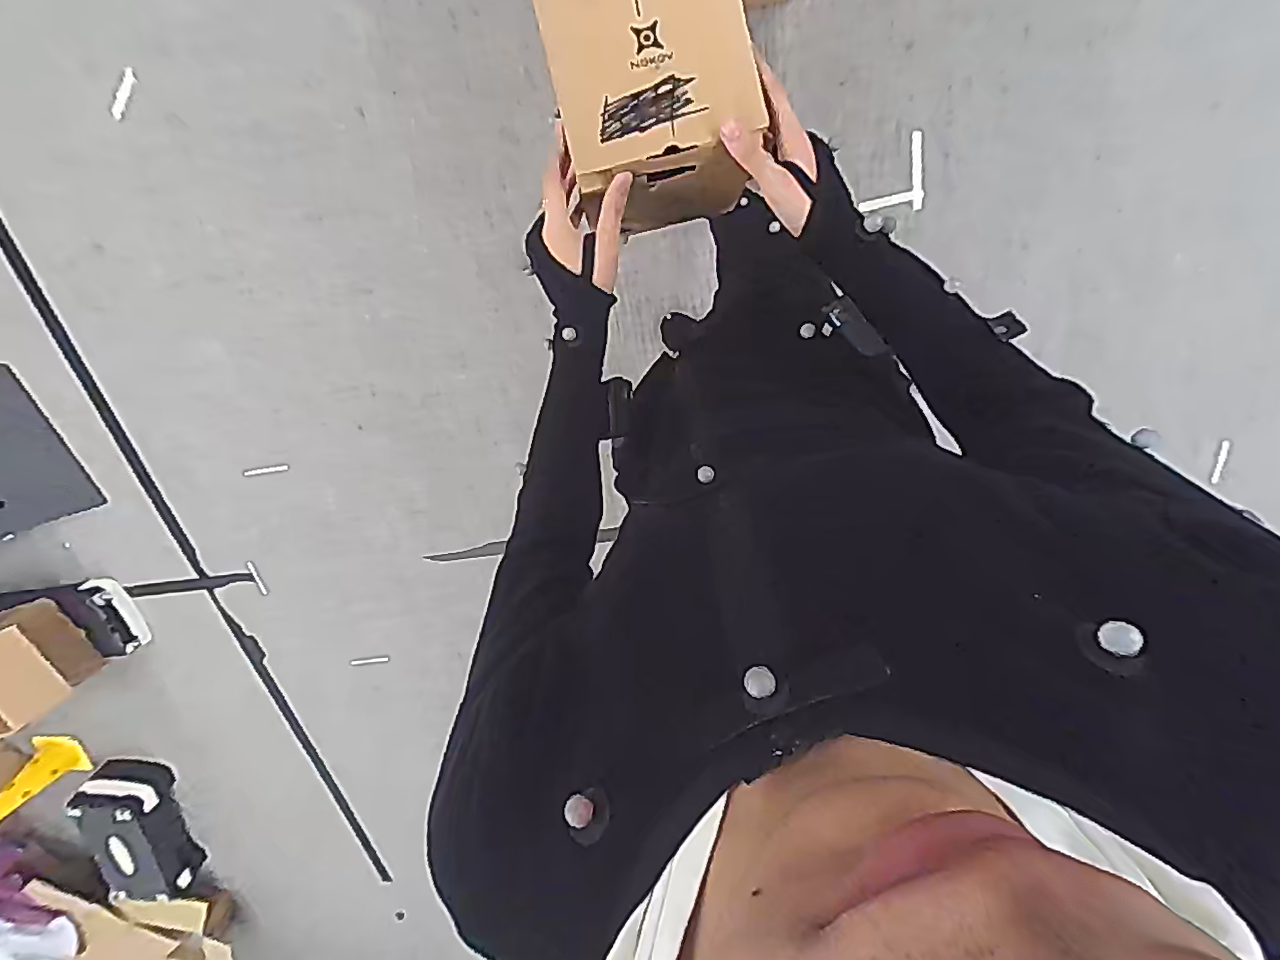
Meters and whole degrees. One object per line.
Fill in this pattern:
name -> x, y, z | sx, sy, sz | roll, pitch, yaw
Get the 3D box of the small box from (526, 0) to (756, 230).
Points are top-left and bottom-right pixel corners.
small box -> 0.001, -0.362, 0.522 | 0.168, 0.176, 0.179 | -14, 98, 2
